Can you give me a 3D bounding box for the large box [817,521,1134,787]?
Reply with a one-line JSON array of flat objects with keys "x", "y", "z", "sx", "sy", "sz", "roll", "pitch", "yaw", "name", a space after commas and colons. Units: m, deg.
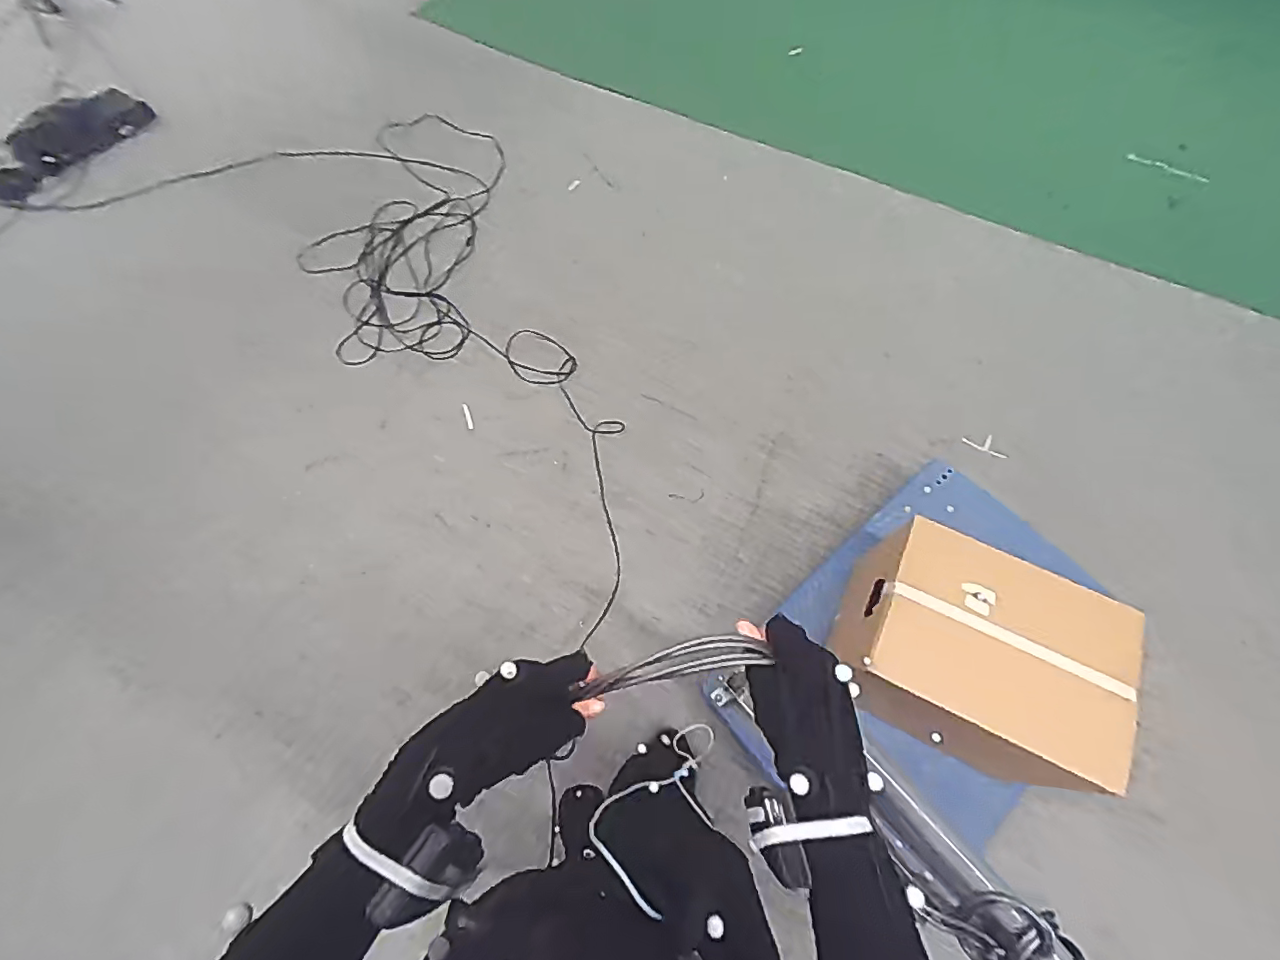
[{"x": 0.624, "y": 0.338, "z": 1.061, "sx": 0.408, "sy": 0.320, "sz": 0.320, "roll": 25, "pitch": 67, "yaw": 12, "name": "large box"}]
